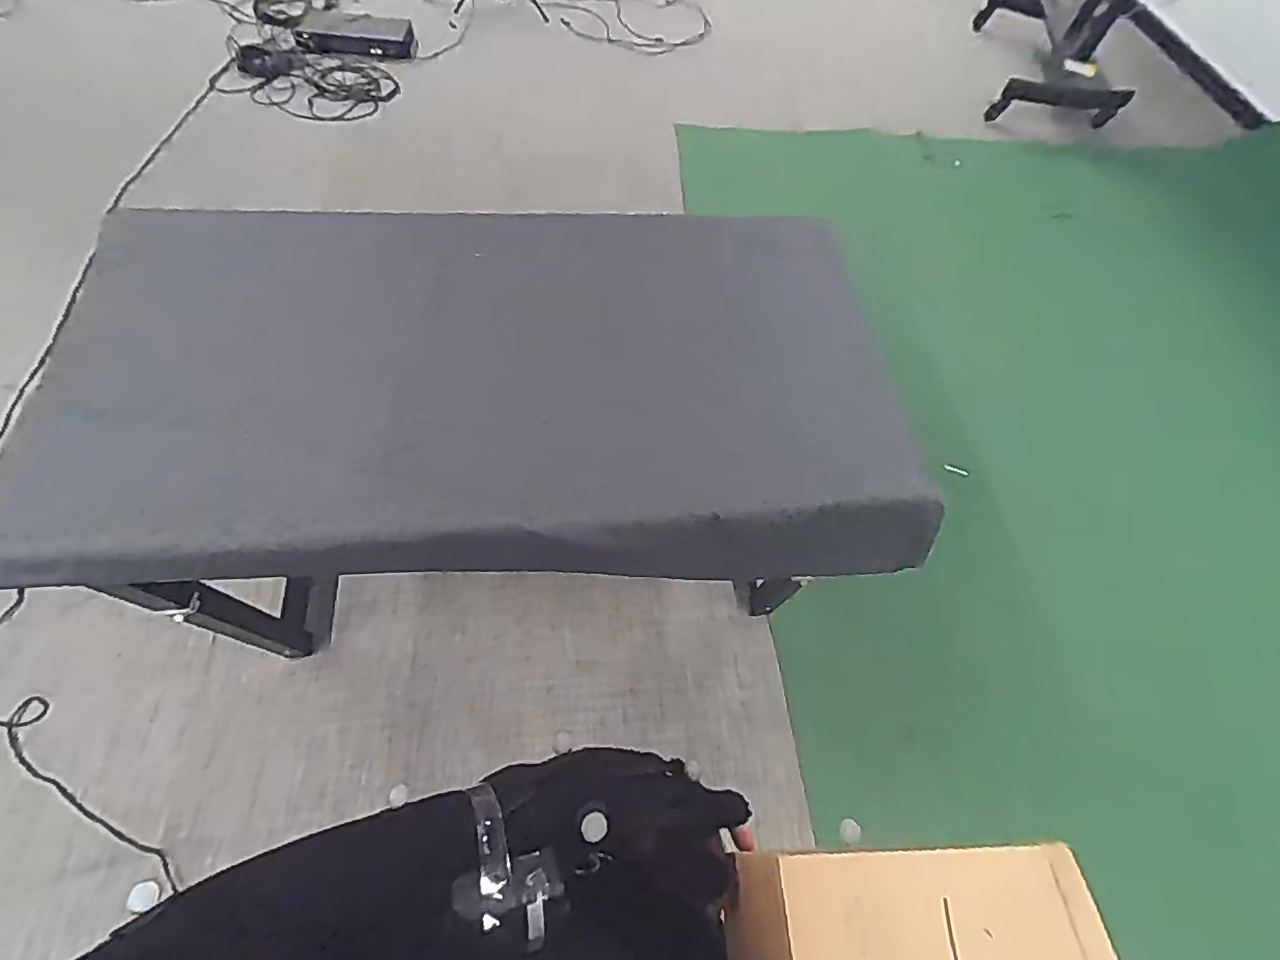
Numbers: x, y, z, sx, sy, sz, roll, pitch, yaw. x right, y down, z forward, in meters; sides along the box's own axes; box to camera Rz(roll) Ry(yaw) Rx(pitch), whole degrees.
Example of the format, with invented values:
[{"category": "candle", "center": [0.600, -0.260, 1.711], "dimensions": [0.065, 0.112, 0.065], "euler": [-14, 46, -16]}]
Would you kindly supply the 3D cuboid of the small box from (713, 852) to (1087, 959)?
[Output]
[{"category": "small box", "center": [0.142, 0.324, 0.314], "dimensions": [0.168, 0.176, 0.179], "euler": [2, 55, -4]}]
